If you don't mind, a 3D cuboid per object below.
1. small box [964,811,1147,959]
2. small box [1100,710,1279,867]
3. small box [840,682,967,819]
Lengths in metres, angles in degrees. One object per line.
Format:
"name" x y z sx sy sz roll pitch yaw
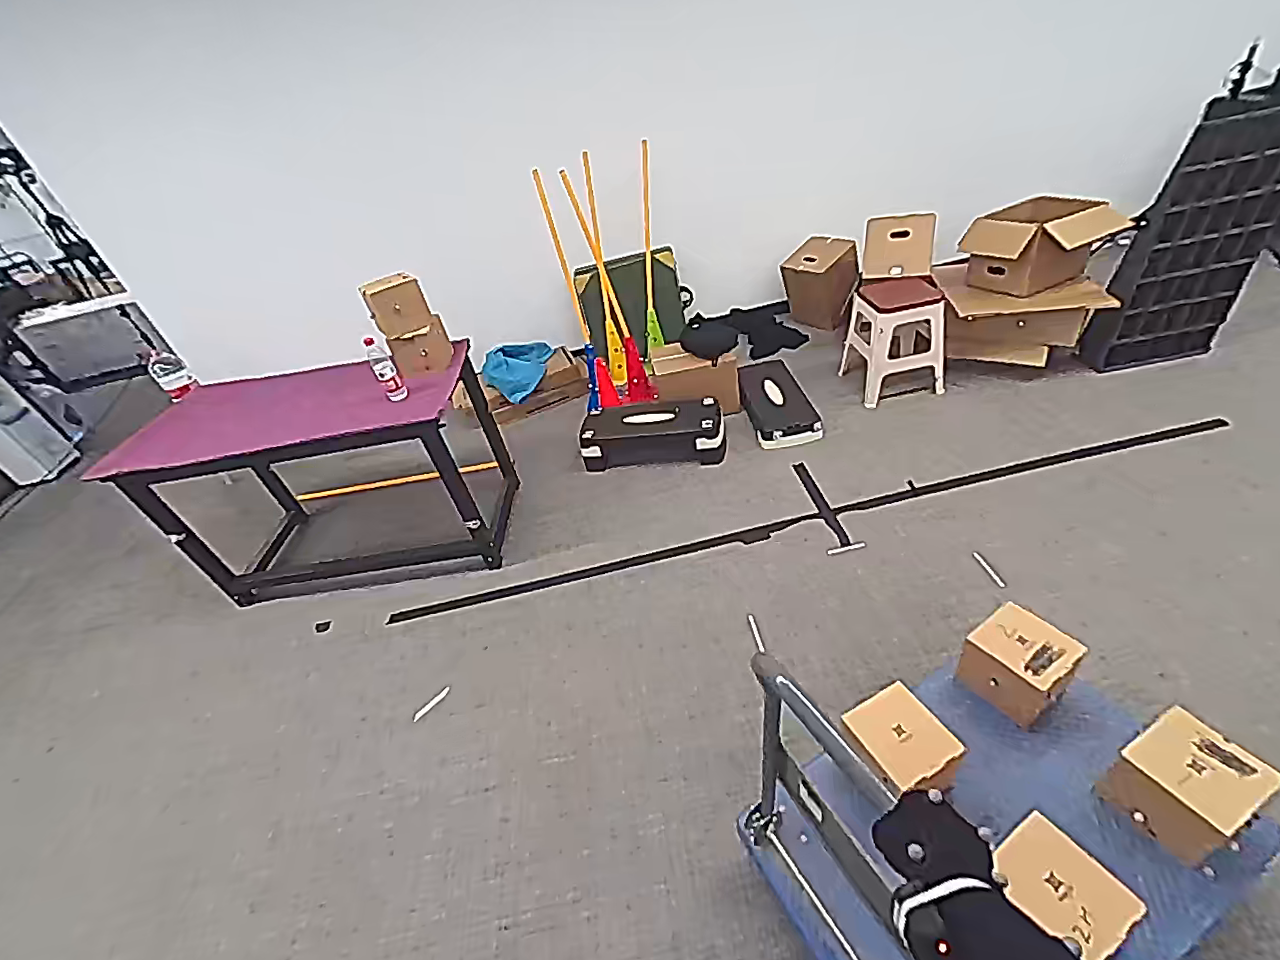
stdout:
"small box" 0.699 0.731 0.934 0.168 0.176 0.179 -27 40 -17
"small box" 1.029 0.582 1.024 0.179 0.176 0.168 -26 40 -14
"small box" 0.553 0.582 1.164 0.168 0.176 0.179 -23 41 -14
